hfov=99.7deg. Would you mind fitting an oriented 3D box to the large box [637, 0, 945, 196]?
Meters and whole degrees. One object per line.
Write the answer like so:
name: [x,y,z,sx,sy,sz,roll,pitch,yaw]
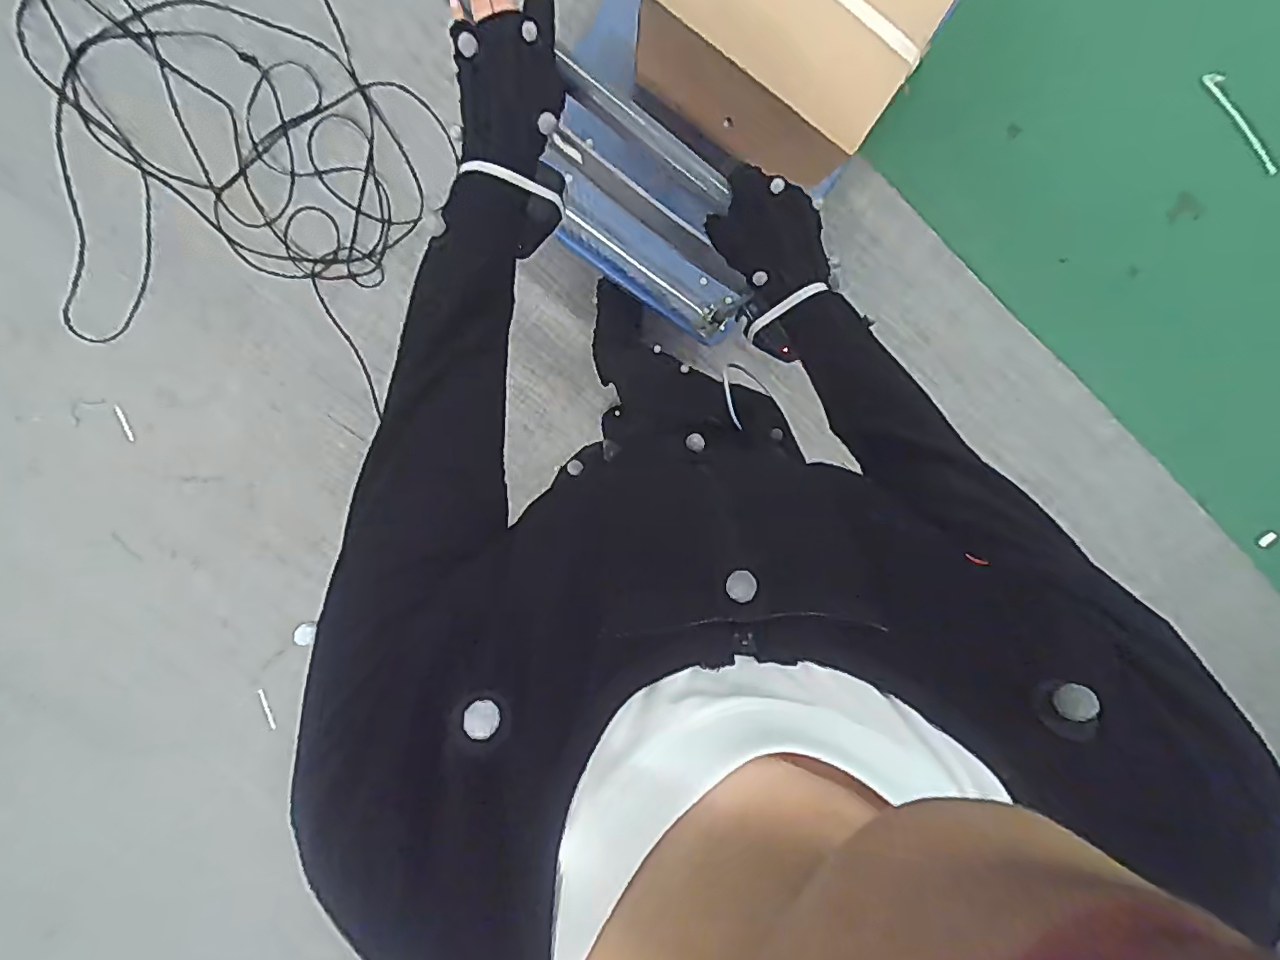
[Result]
large box: [0.243,-0.788,0.958,0.408,0.320,0.320,31,101,-10]
